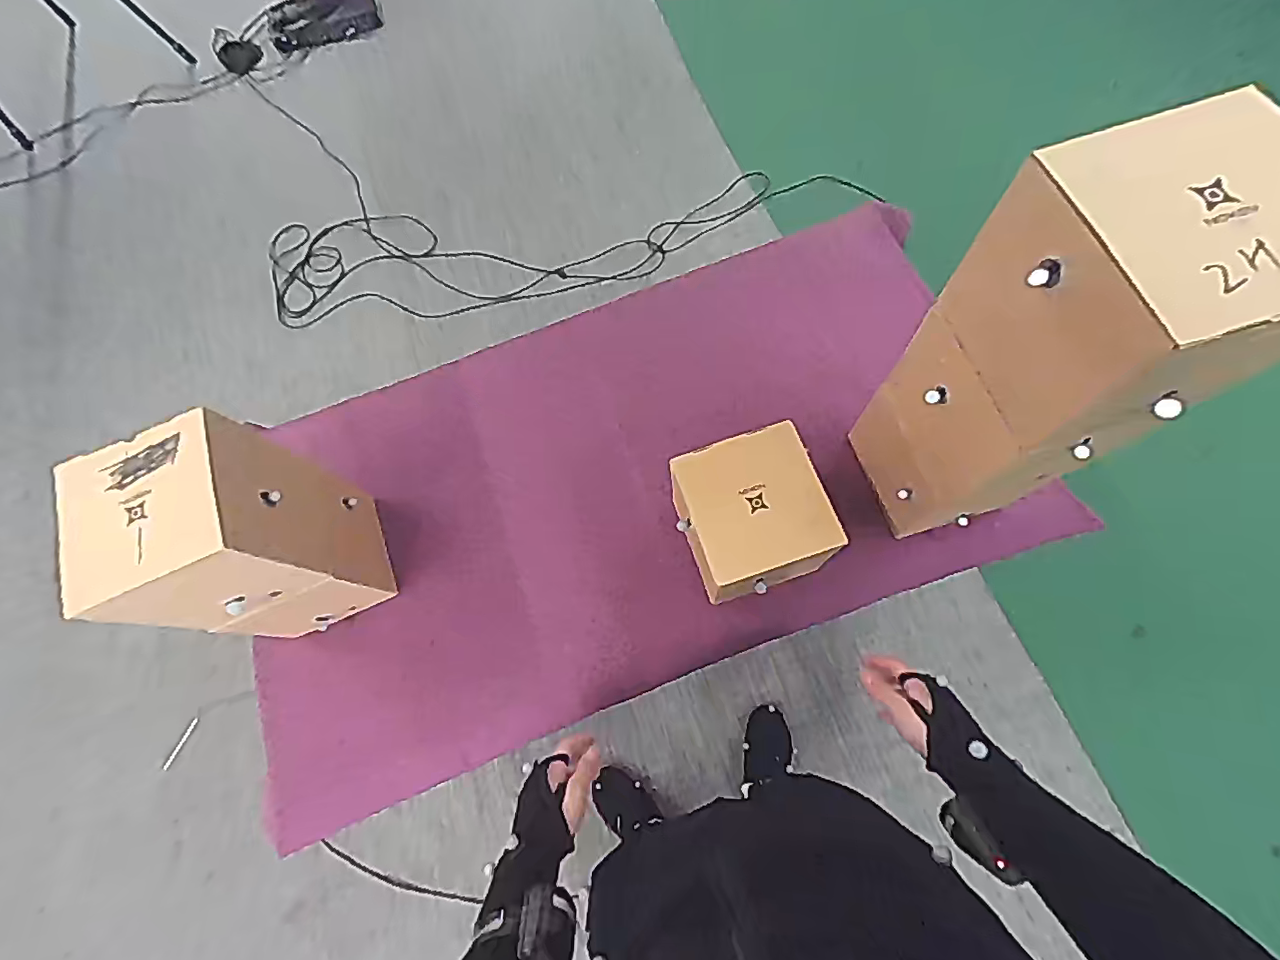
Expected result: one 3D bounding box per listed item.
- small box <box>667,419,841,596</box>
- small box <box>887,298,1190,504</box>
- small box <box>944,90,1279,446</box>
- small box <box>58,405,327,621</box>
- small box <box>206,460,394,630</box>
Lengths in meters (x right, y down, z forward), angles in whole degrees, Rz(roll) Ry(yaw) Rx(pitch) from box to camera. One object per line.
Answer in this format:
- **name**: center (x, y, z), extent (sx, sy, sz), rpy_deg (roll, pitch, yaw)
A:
- **small box**: center (0.146, 0.050, 0.736), extent (0.168, 0.176, 0.179), rpy_deg (-19, 68, -1)
- **small box**: center (0.398, -0.095, 0.584), extent (0.168, 0.176, 0.179), rpy_deg (-17, 69, 1)
- **small box**: center (0.382, -0.152, 0.430), extent (0.168, 0.176, 0.179), rpy_deg (-16, 70, 1)
- **small box**: center (-0.502, 0.048, 0.625), extent (0.168, 0.176, 0.179), rpy_deg (-24, 71, -2)
- **small box**: center (-0.487, 0.102, 0.779), extent (0.168, 0.176, 0.179), rpy_deg (-23, 71, -2)
